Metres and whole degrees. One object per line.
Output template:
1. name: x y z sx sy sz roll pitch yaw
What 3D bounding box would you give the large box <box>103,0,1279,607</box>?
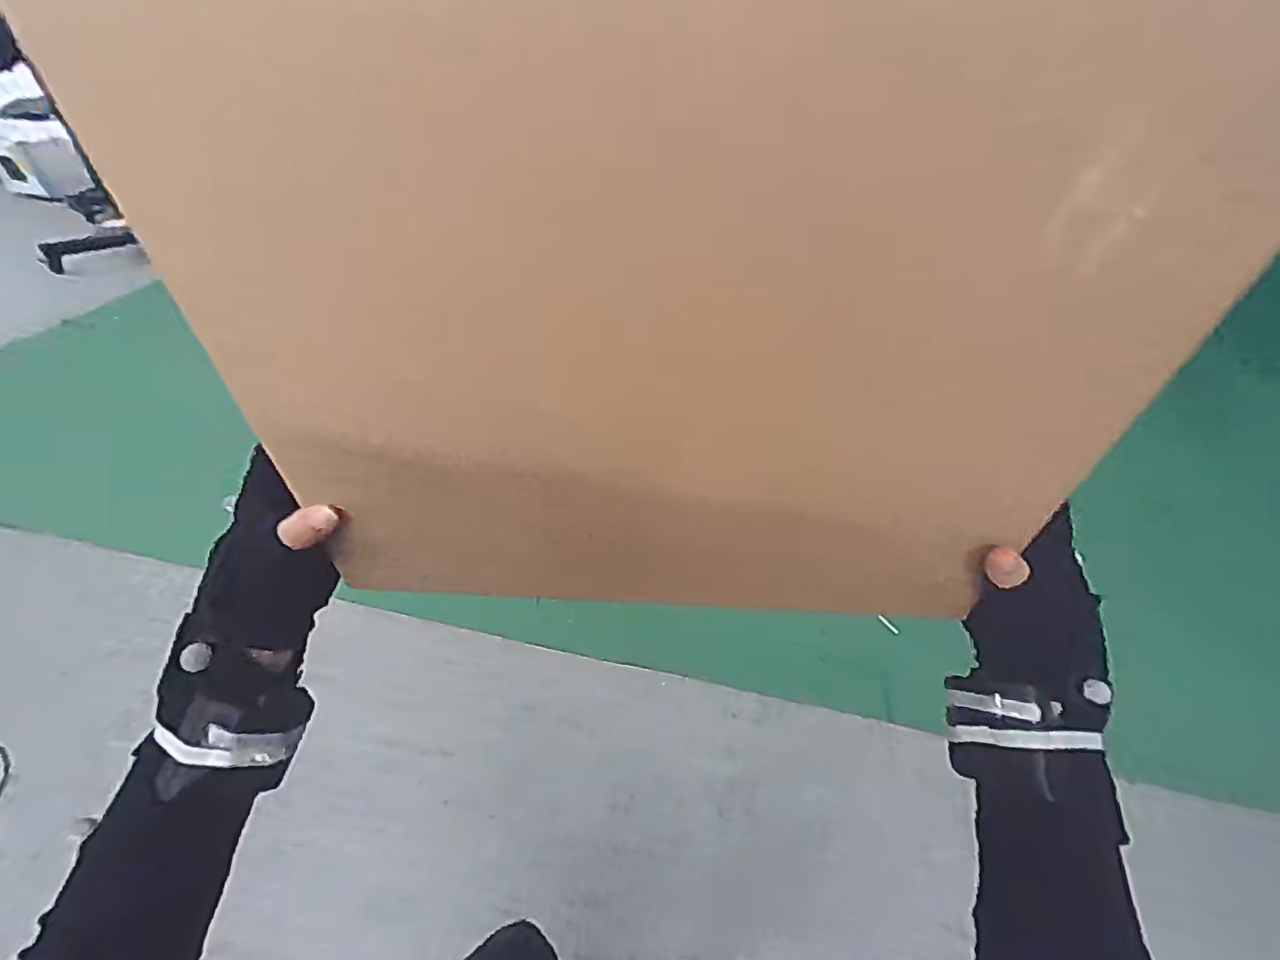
1. large box: 0.032 -0.131 0.361 0.408 0.320 0.320 3 45 -2
